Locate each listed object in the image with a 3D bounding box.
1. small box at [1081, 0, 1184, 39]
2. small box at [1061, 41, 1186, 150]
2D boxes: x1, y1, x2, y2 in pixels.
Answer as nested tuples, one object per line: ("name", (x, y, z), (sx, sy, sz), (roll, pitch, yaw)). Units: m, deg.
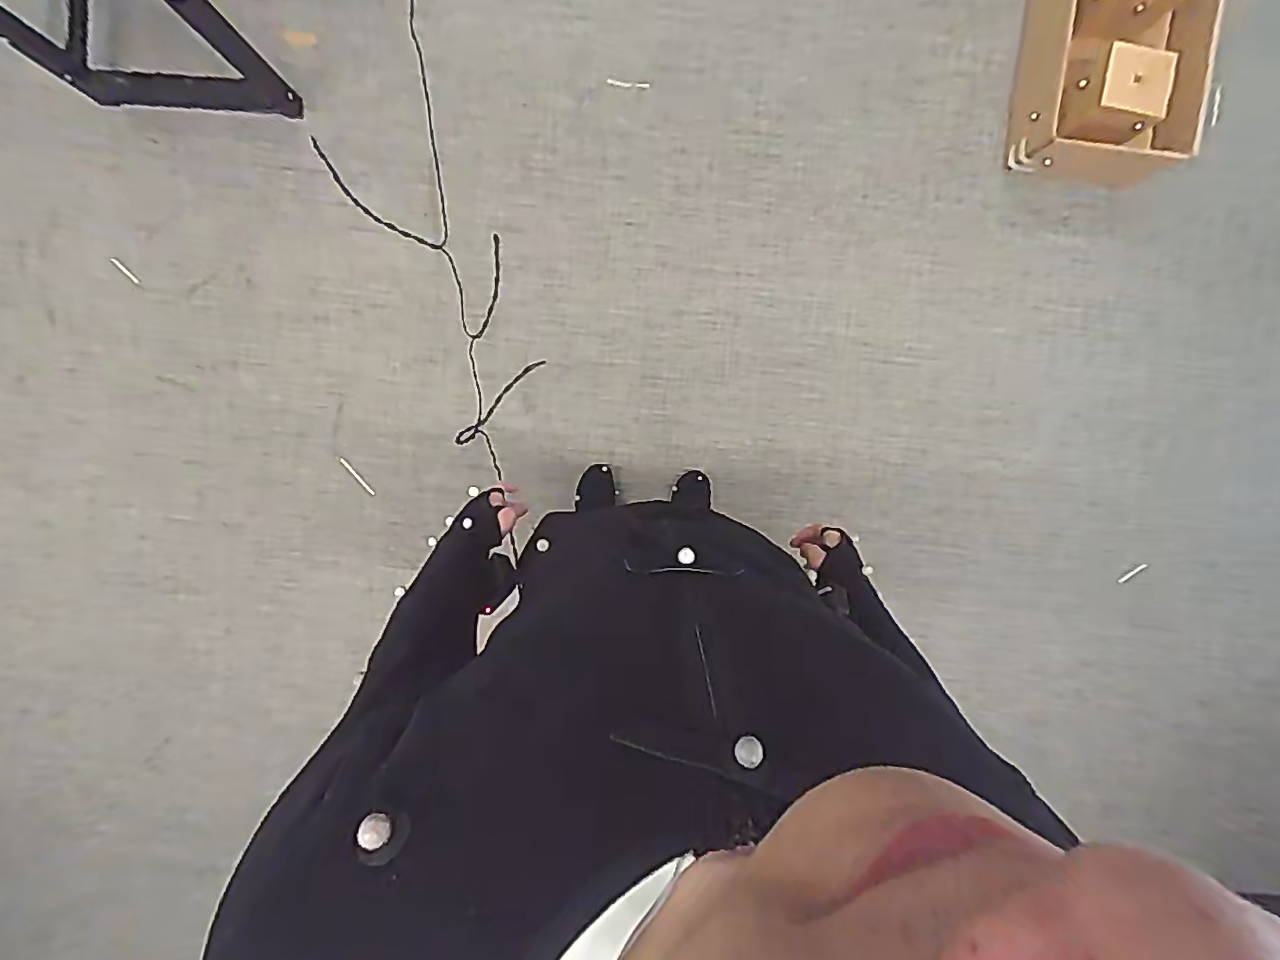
("small box", (1.334, -1.325, 1.441), (0.179, 0.176, 0.168), (6, 95, -1))
("small box", (1.293, -1.027, 1.459), (0.179, 0.176, 0.168), (10, 93, -1))
